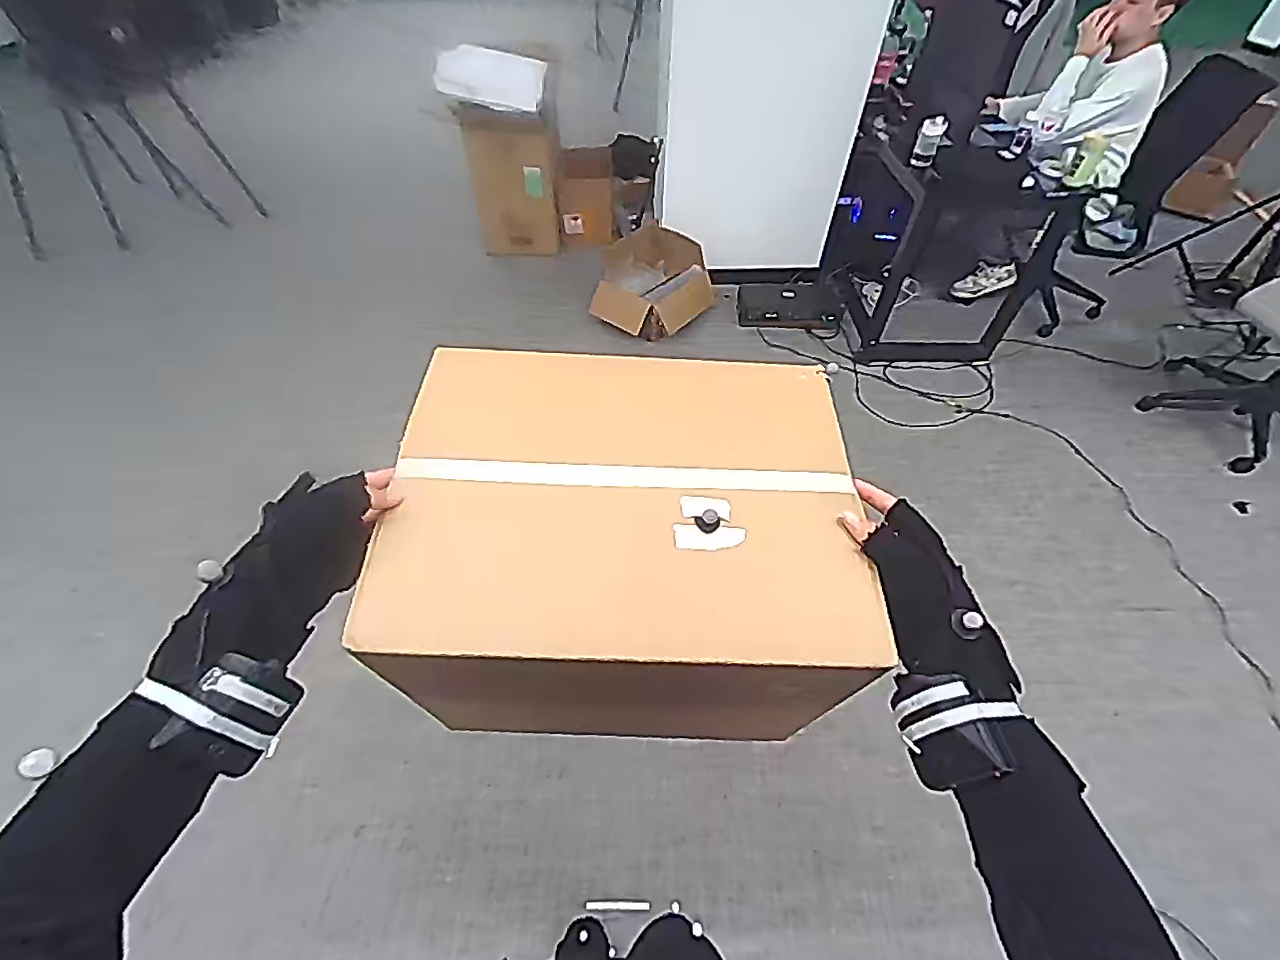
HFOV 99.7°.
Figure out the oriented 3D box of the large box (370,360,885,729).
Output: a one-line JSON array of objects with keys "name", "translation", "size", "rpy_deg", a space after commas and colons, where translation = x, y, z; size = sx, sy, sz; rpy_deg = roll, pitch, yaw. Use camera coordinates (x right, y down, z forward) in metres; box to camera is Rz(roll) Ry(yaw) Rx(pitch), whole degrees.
[{"name": "large box", "translation": [-0.015, 0.089, 0.616], "size": [0.408, 0.320, 0.320], "rpy_deg": [3, 56, -2]}]
